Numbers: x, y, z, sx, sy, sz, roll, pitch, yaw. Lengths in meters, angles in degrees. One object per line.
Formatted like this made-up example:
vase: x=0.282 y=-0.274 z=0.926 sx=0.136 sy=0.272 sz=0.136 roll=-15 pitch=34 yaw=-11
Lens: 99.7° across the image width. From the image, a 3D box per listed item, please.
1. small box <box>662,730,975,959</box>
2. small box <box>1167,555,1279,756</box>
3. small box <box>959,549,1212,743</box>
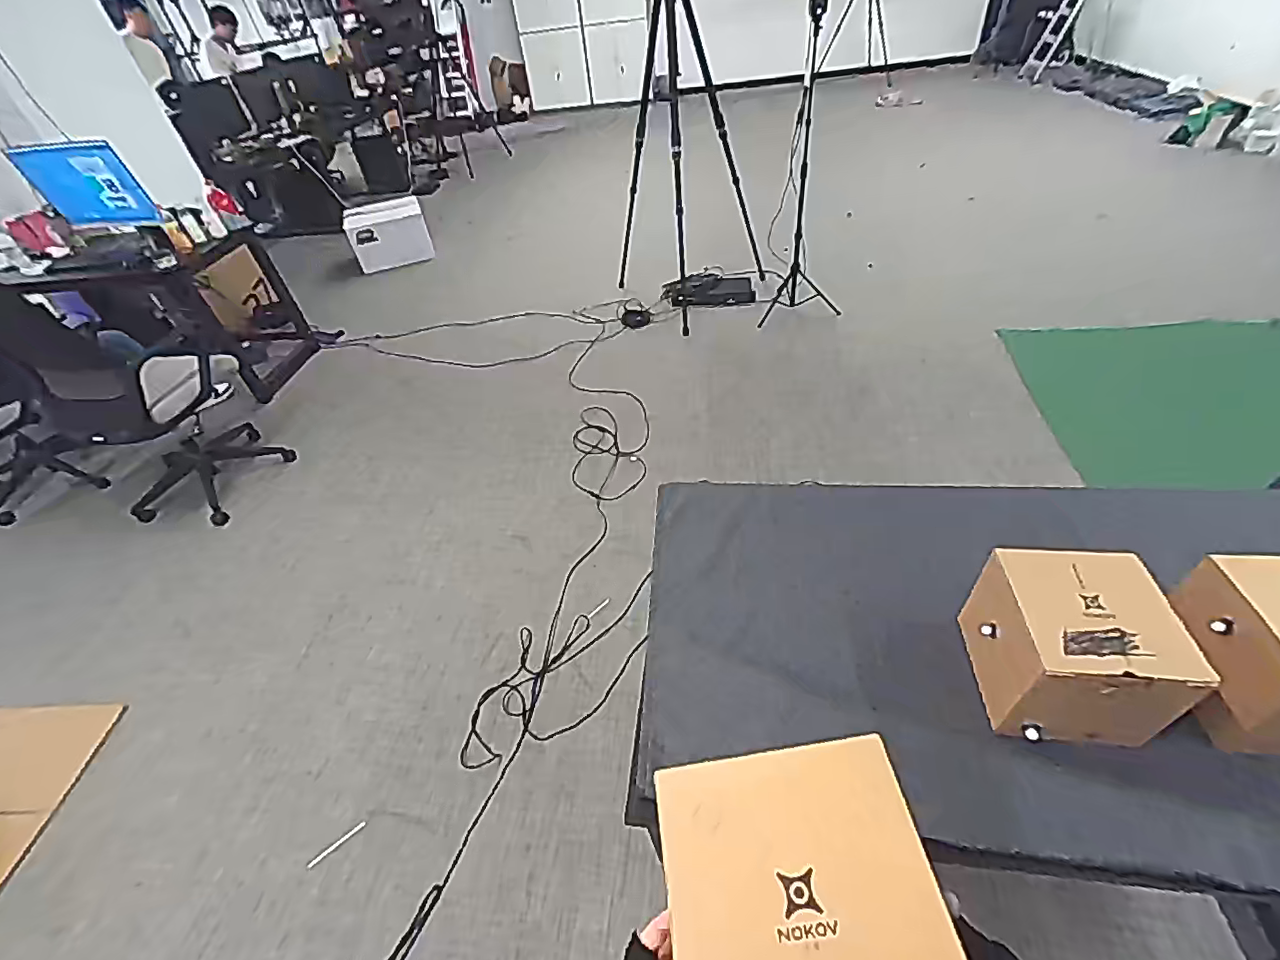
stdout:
small box: x=0.114 y=0.308 z=0.386 sx=0.168 sy=0.176 sz=0.179 roll=-11 pitch=46 yaw=3
small box: x=0.775 y=0.210 z=0.646 sx=0.168 sy=0.176 sz=0.179 roll=0 pitch=44 yaw=9
small box: x=0.535 y=0.210 z=0.685 sx=0.168 sy=0.176 sz=0.179 roll=2 pitch=43 yaw=10
